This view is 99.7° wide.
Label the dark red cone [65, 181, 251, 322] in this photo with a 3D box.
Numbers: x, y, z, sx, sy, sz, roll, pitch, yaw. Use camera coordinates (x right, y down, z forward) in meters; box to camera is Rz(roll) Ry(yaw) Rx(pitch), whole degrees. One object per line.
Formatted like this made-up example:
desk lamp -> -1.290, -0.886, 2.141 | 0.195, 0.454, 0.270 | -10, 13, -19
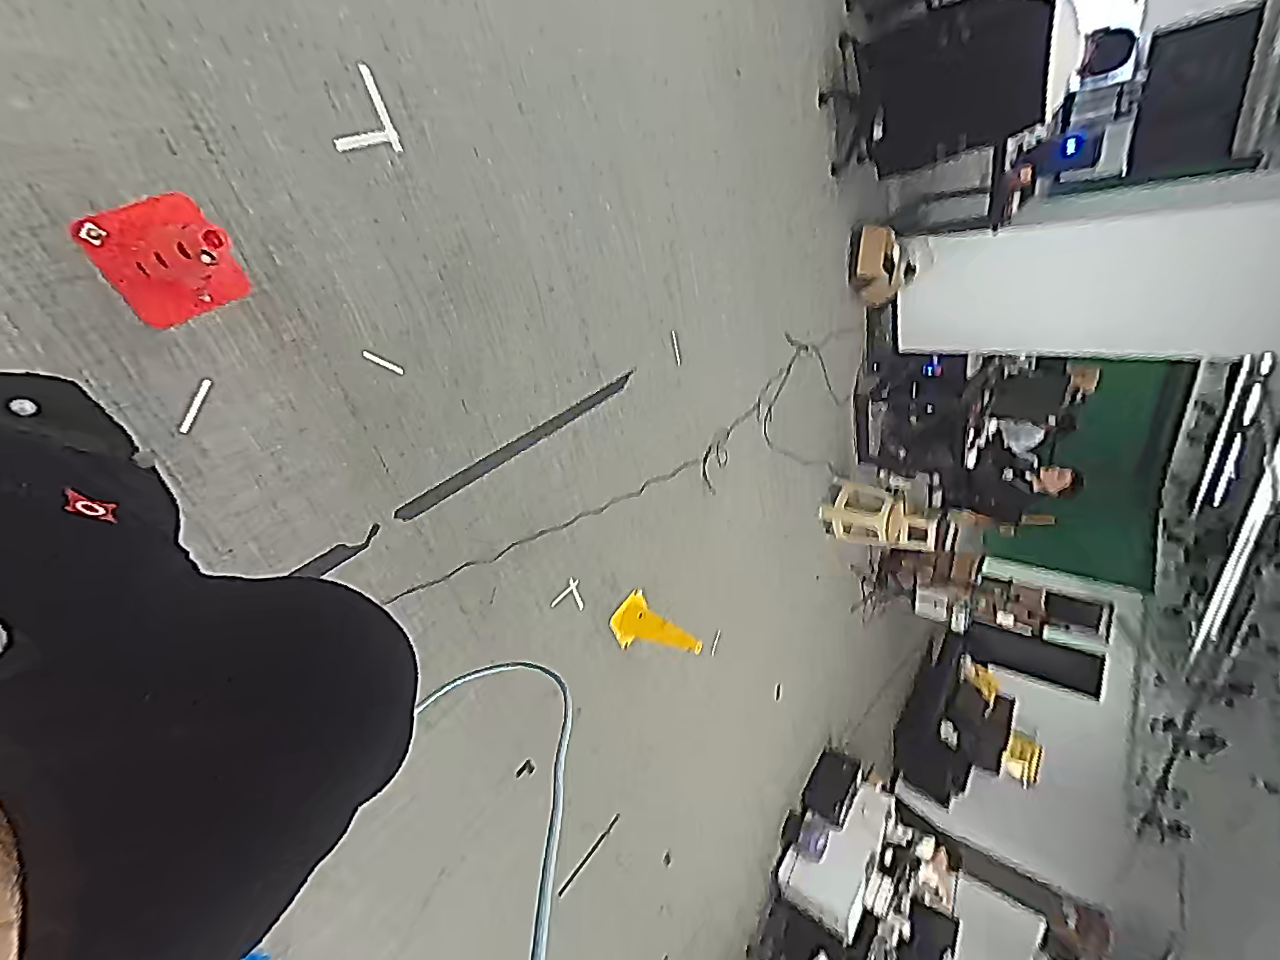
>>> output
dark red cone -> -0.744, -0.387, 0.889 | 0.202, 0.394, 0.201 | -47, 133, -32
